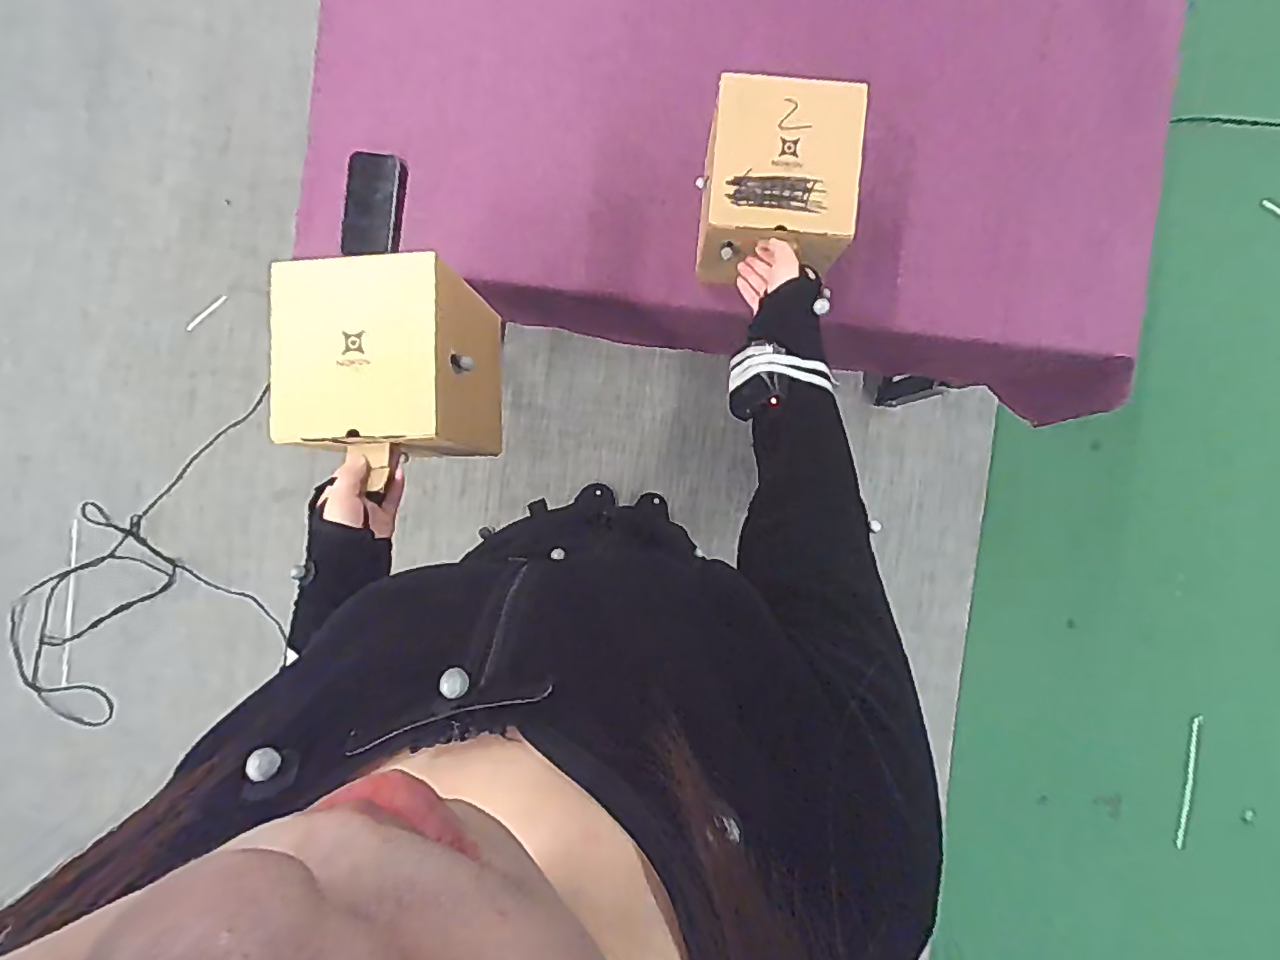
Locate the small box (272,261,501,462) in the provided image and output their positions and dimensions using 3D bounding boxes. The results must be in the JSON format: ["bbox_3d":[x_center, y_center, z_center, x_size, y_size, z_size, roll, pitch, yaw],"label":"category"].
[{"bbox_3d":[-0.257,-0.114,0.584,0.168,0.176,0.179,-1,88,5],"label":"small box"}]
